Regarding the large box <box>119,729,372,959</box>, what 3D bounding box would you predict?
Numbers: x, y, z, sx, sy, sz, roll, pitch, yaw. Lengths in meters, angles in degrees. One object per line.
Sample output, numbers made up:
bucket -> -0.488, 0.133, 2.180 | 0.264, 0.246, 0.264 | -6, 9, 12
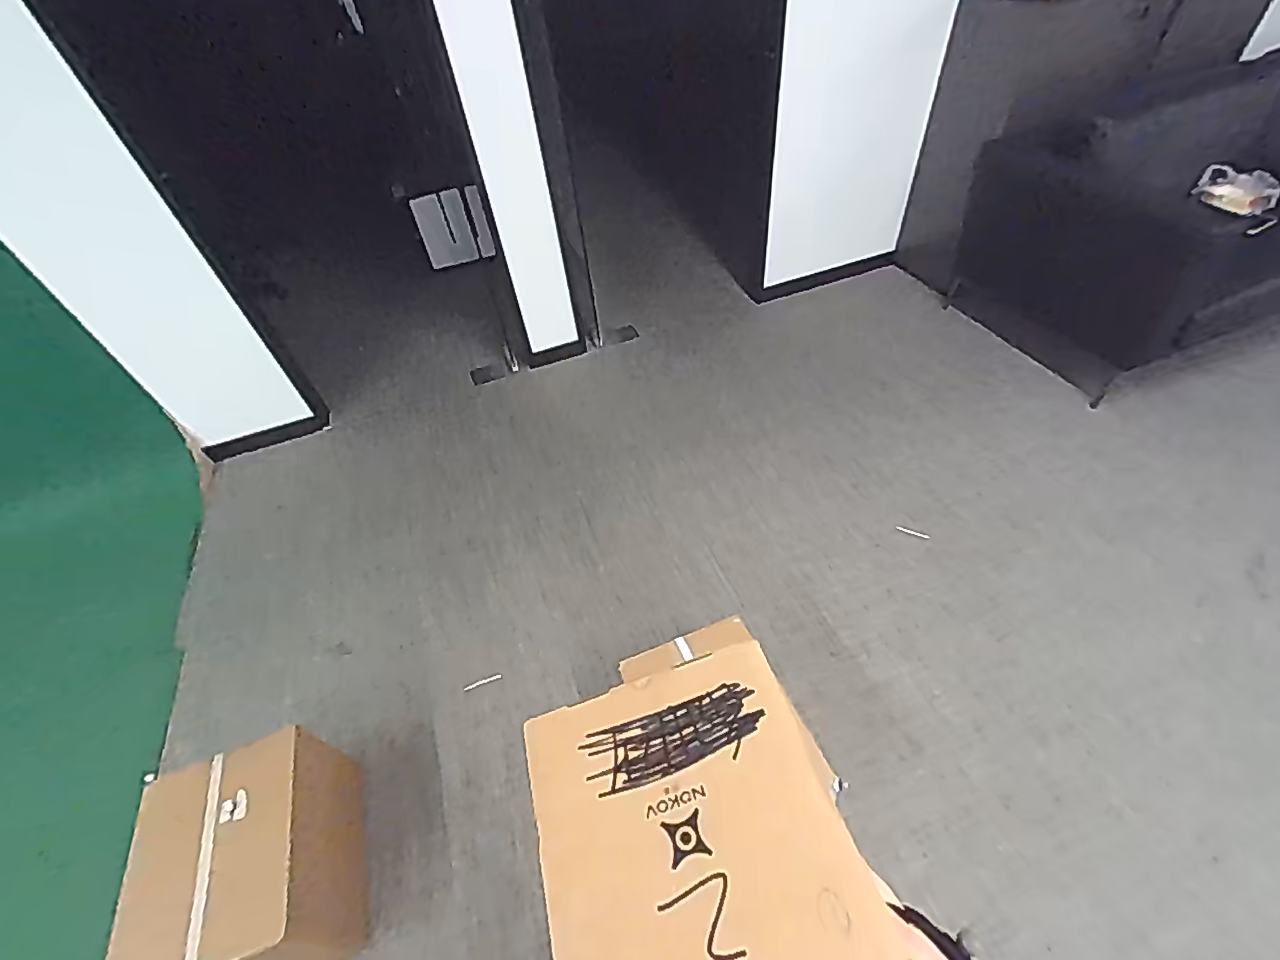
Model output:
large box -> -0.811, 0.838, 1.166 | 0.320, 0.320, 0.408 | -20, 48, -10
